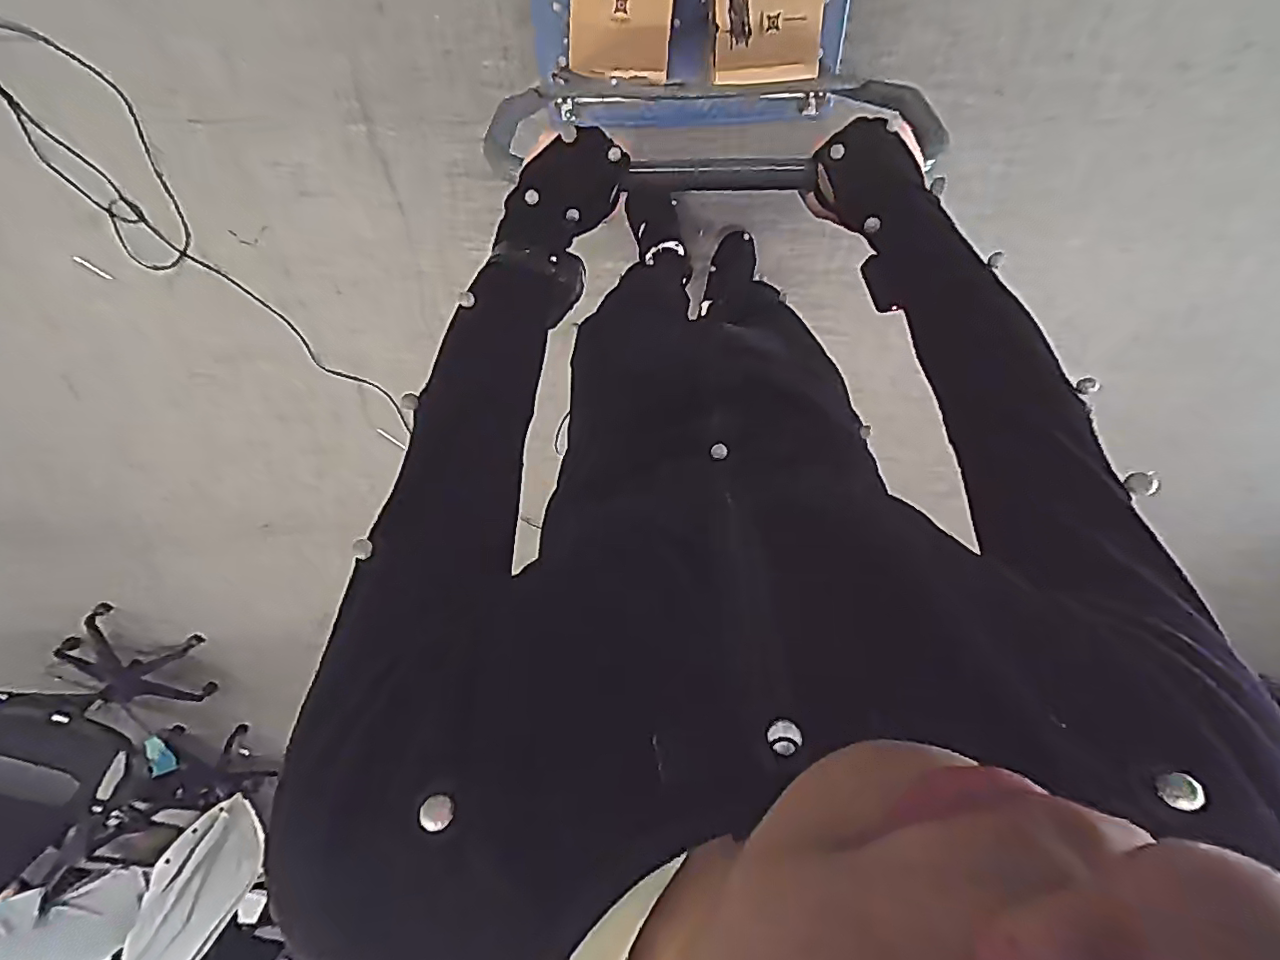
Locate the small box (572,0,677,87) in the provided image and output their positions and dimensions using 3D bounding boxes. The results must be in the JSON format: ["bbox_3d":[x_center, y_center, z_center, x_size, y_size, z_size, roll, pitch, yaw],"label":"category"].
[{"bbox_3d":[-0.024,-0.799,0.935,0.168,0.176,0.179,5,126,-2],"label":"small box"}]
